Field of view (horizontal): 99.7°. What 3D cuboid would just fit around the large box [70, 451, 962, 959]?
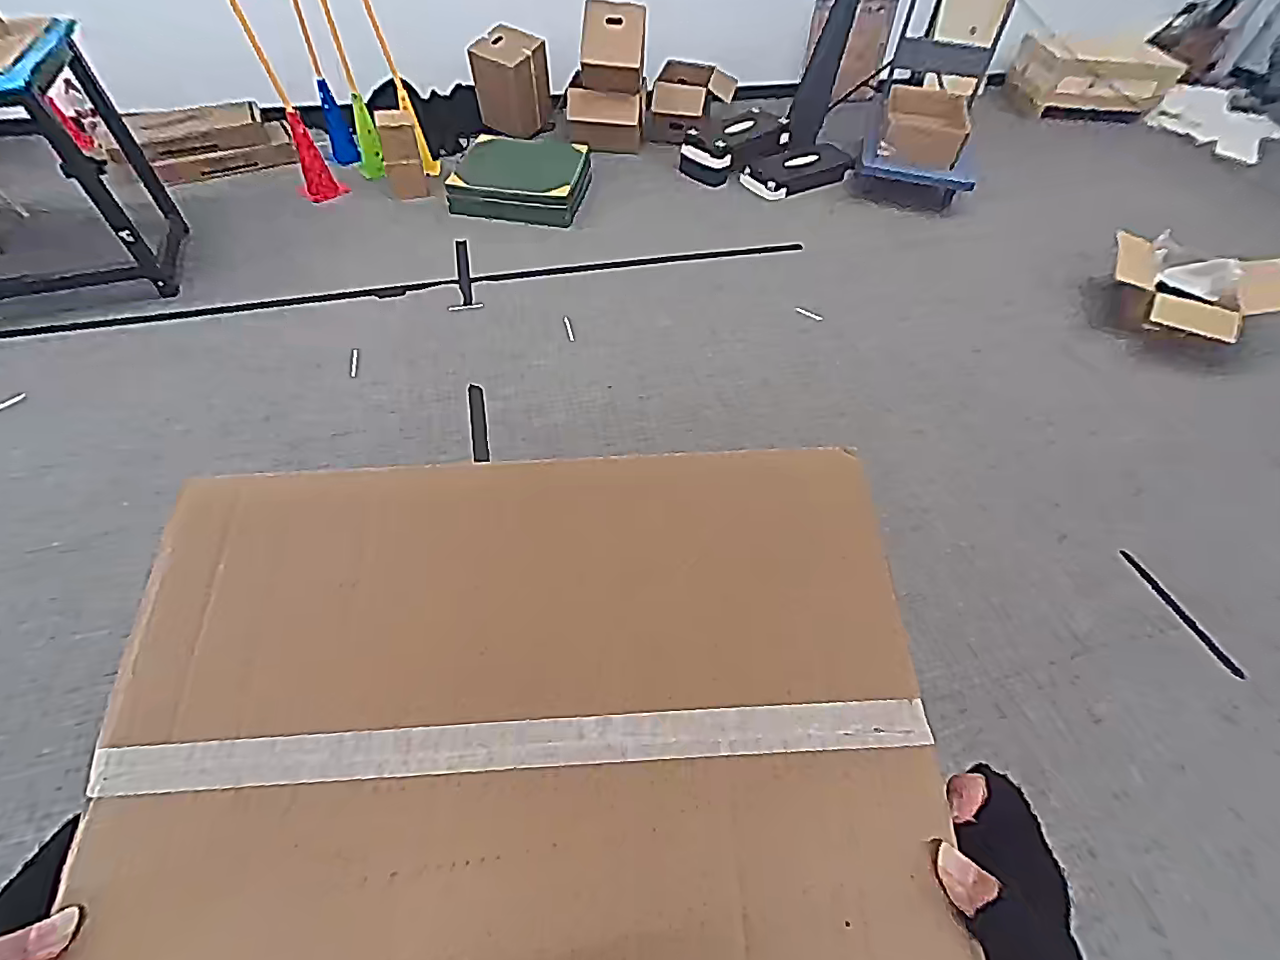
[{"bbox_3d":[-0.061,0.193,0.414,0.408,0.320,0.320,-3,66,-1],"label":"large box"}]
